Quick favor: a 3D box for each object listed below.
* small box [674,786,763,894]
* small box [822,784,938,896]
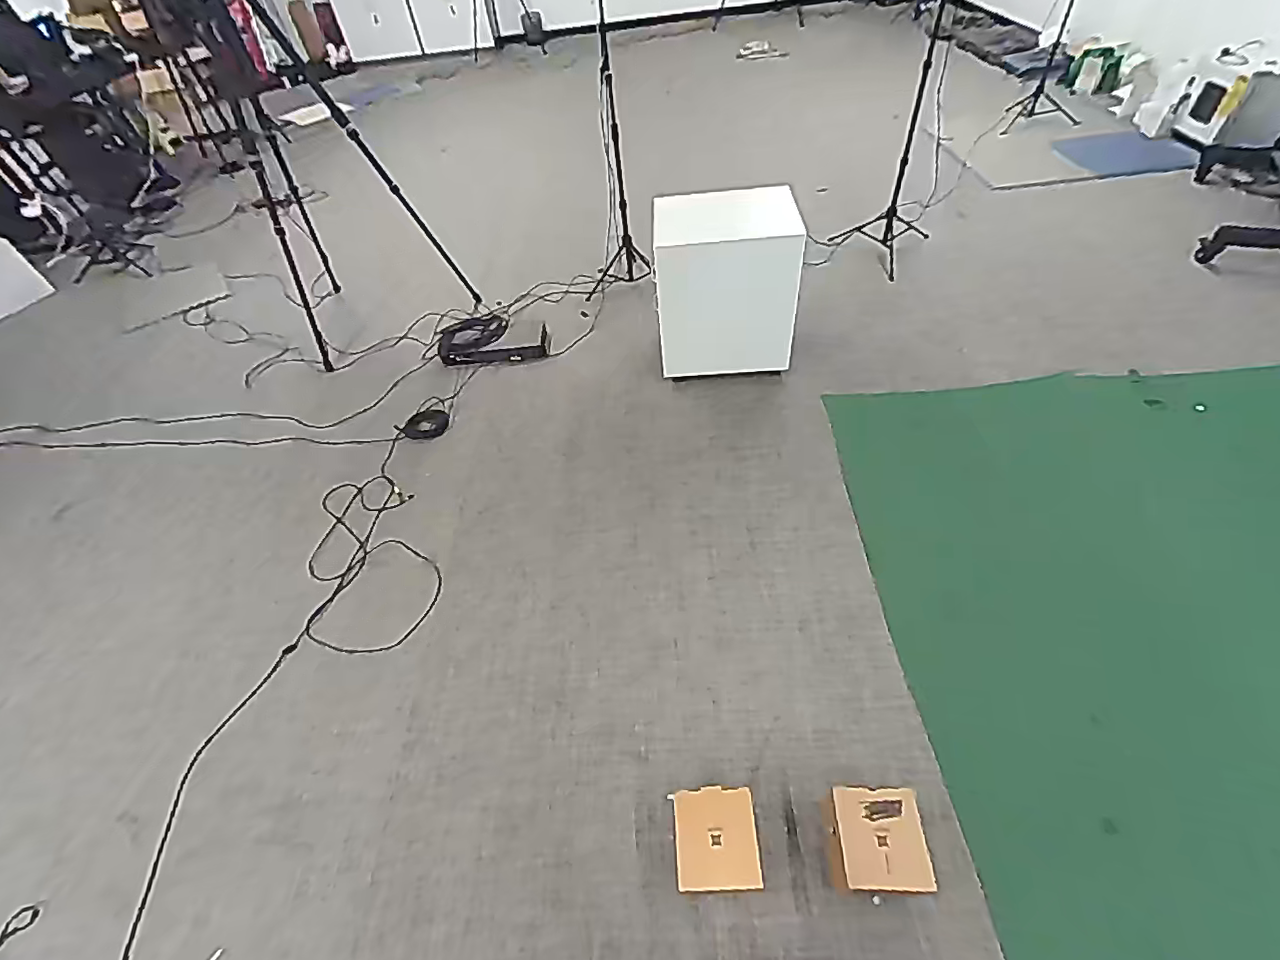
[{"bbox_3d":[0.163,0.772,1.155,0.168,0.176,0.179,-5,49,3],"label":"small box"},{"bbox_3d":[0.488,0.754,1.131,0.168,0.176,0.179,-2,50,6],"label":"small box"}]
